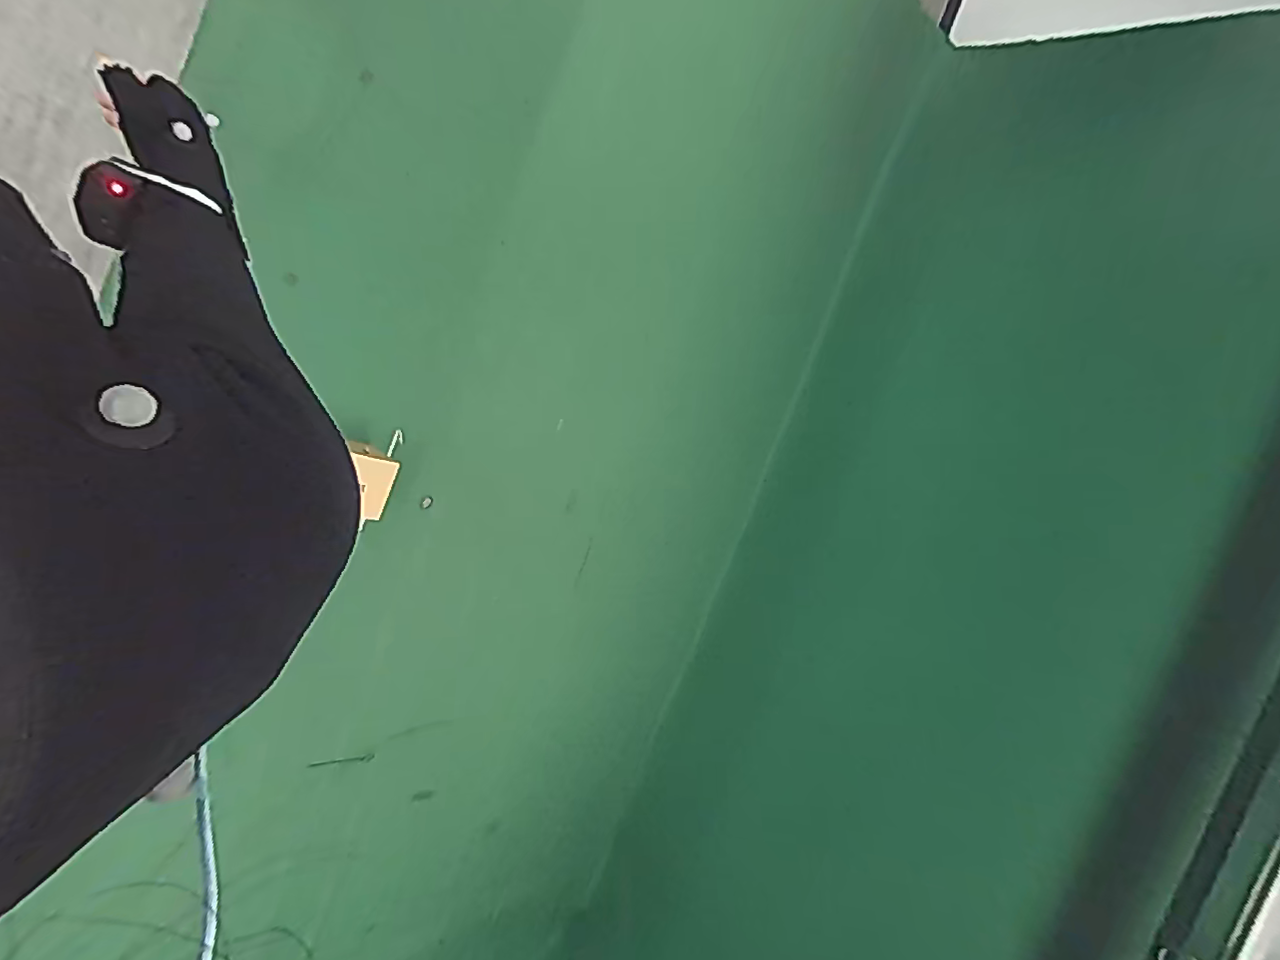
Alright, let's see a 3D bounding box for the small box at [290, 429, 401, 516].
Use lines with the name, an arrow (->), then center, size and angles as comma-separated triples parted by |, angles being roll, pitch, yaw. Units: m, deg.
small box -> -0.770, -0.021, 1.413 | 0.179, 0.176, 0.168 | 19, 94, -54
